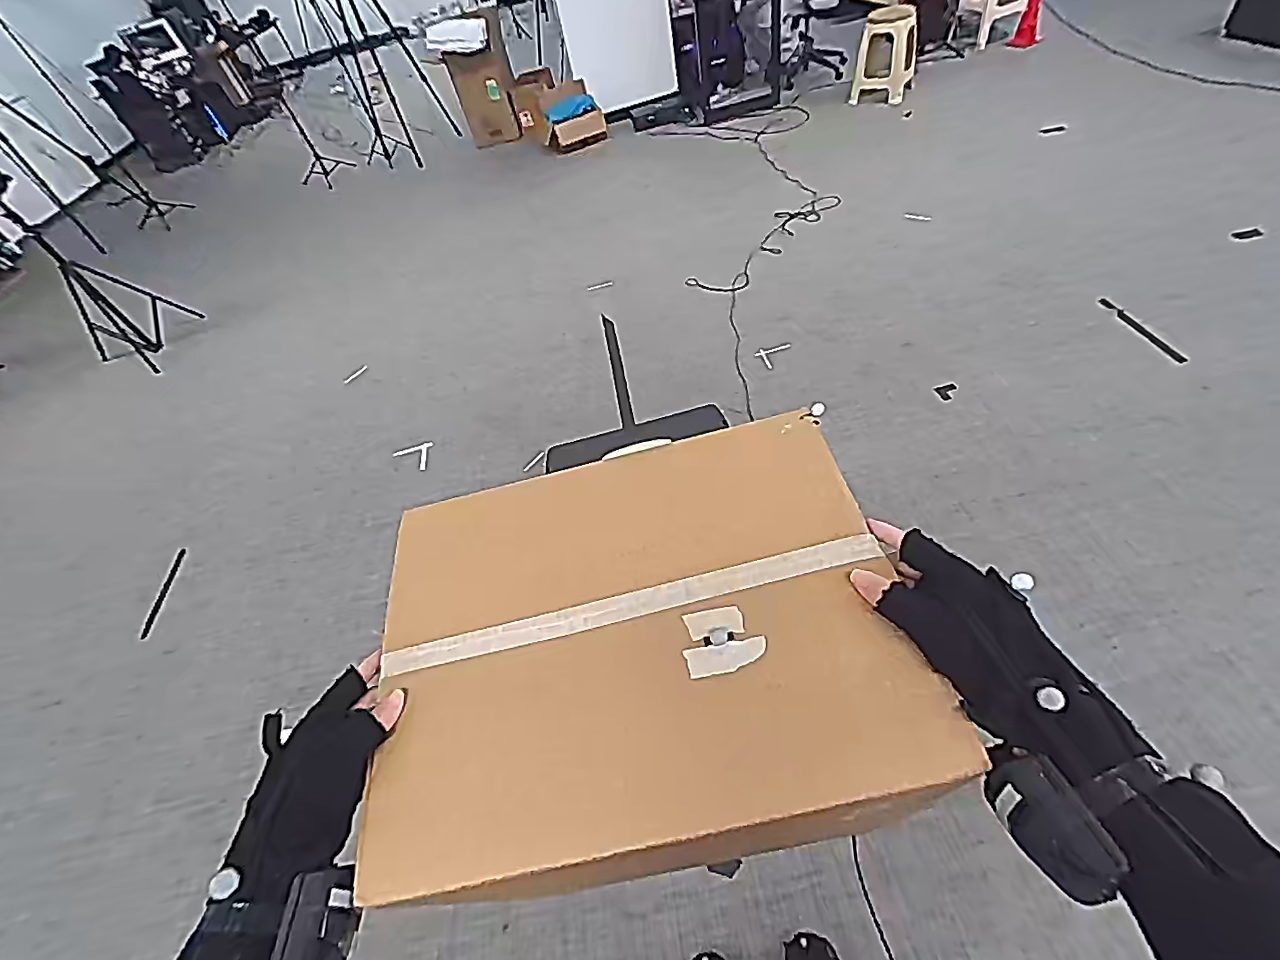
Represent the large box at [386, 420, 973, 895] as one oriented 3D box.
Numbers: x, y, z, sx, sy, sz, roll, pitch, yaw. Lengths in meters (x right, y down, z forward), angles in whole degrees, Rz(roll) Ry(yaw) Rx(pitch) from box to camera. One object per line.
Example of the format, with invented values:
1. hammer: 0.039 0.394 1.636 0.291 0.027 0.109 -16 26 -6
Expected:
1. large box: 0.023 0.194 0.556 0.408 0.320 0.320 -14 52 2
